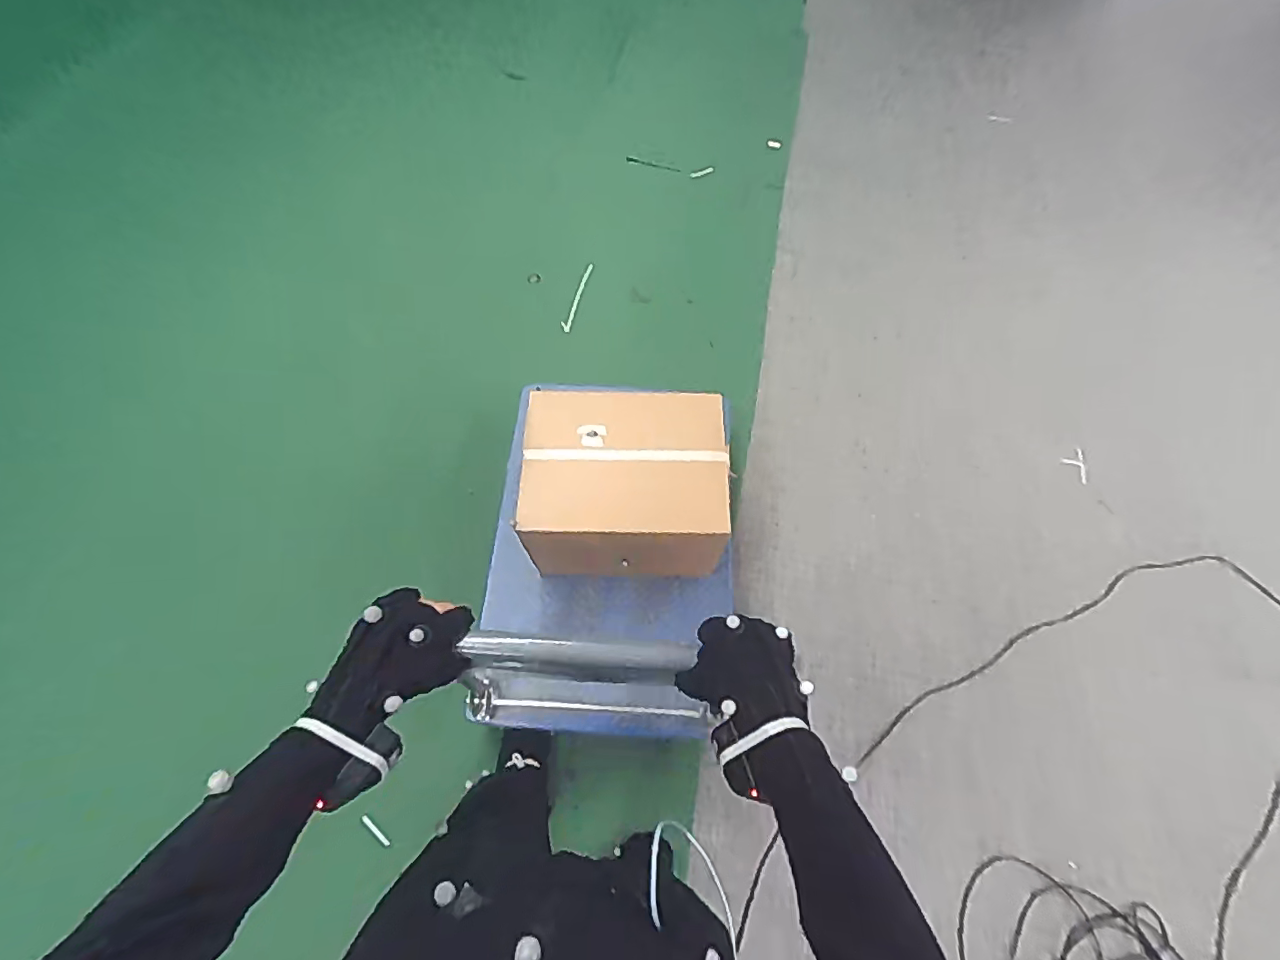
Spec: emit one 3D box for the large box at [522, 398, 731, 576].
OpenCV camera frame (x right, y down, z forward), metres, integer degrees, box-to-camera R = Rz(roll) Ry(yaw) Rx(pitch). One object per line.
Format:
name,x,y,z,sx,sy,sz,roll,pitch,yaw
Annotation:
large box,-0.024,0.029,1.217,0.408,0.320,0.320,0,64,0
